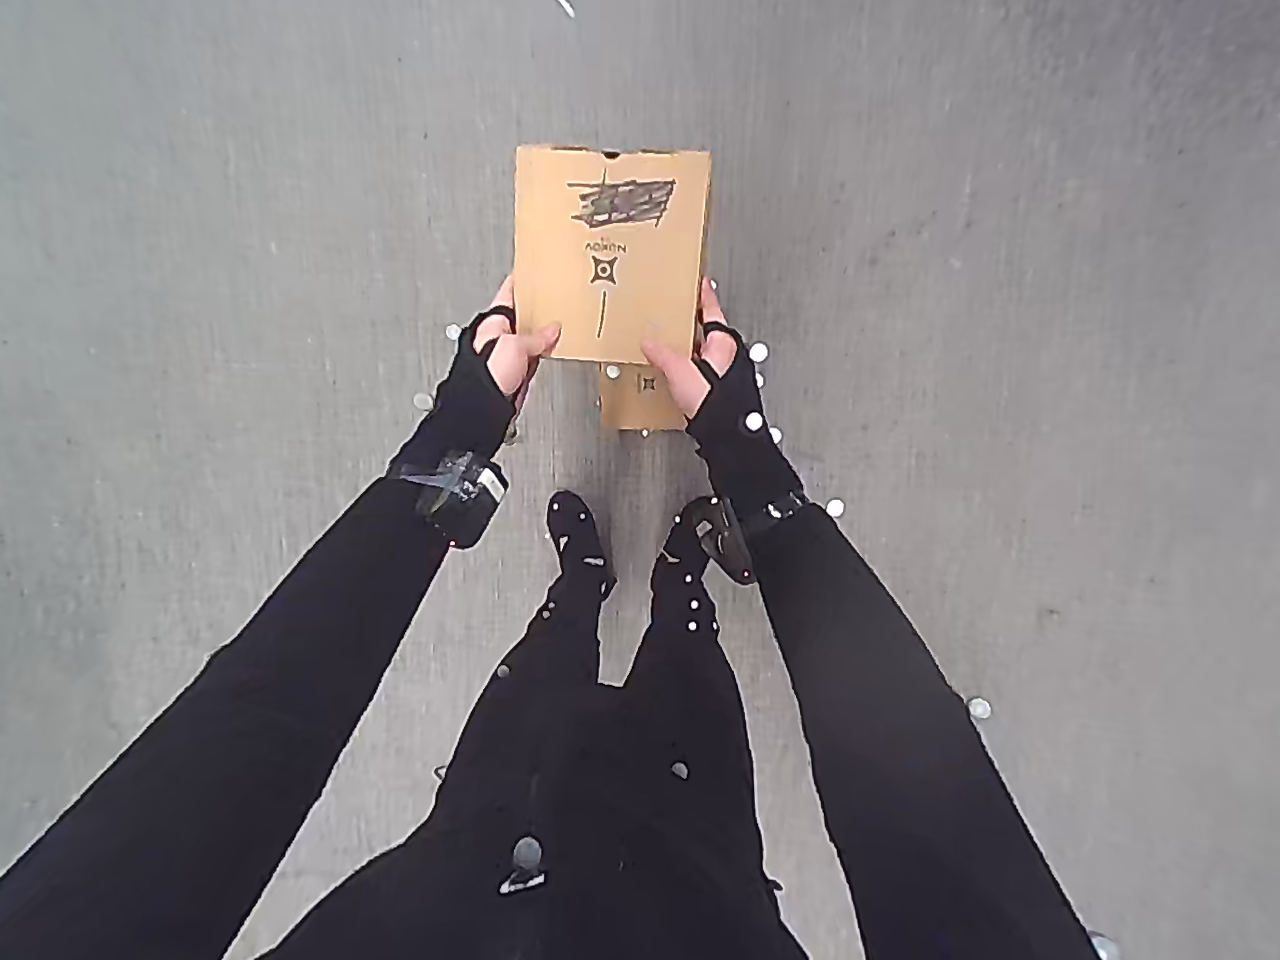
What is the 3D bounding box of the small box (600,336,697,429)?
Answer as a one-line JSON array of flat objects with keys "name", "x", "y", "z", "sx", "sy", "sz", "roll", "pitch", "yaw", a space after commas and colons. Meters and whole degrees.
[{"name": "small box", "x": 0.019, "y": -0.186, "z": 1.057, "sx": 0.179, "sy": 0.176, "sz": 0.168, "roll": 1, "pitch": 98, "yaw": 2}]
